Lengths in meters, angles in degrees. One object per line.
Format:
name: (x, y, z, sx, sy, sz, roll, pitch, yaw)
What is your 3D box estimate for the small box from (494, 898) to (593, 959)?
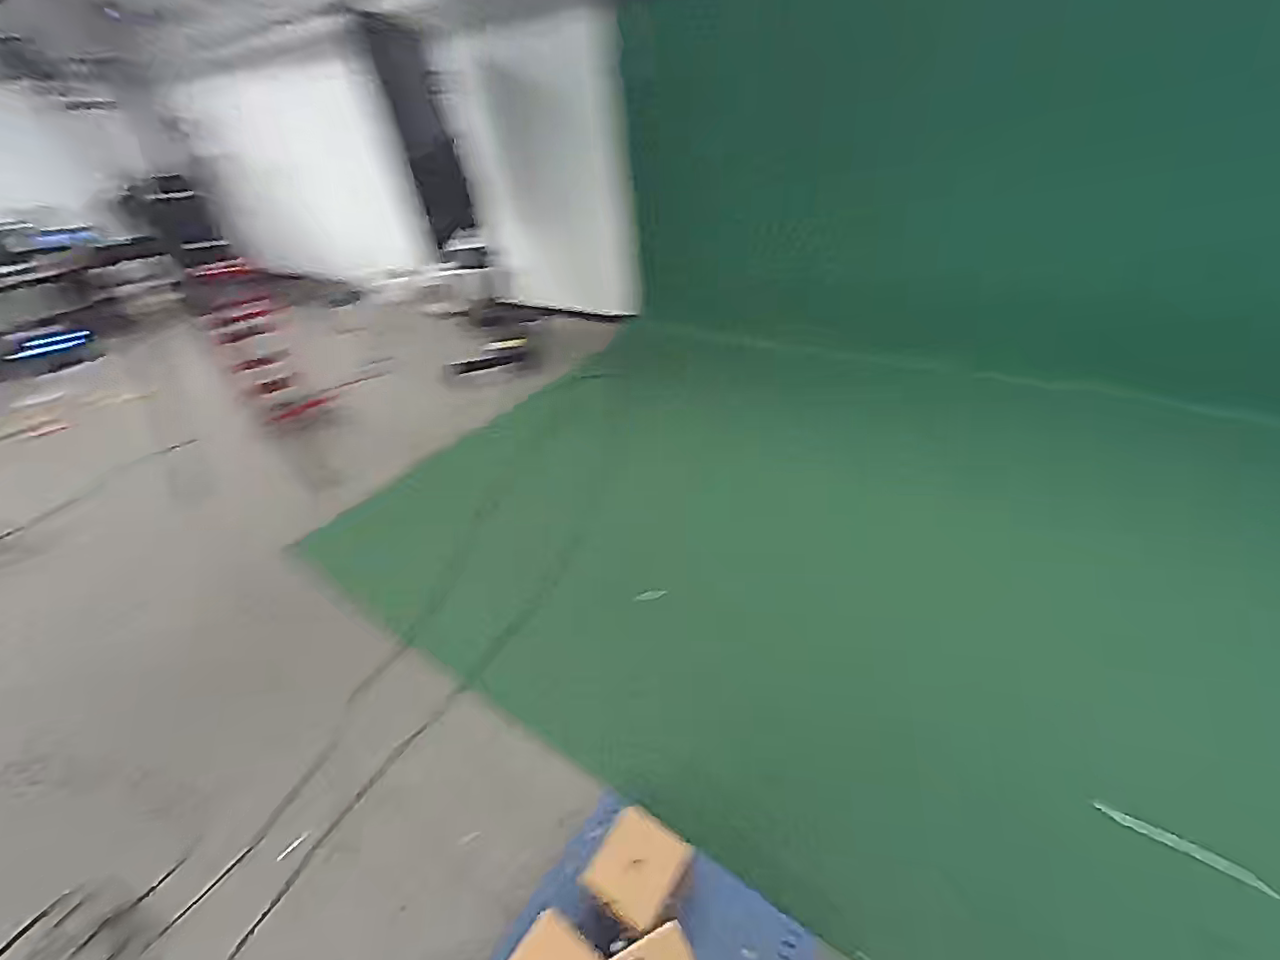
small box: (-0.179, 0.986, 1.061, 0.179, 0.176, 0.168, 21, 46, 32)

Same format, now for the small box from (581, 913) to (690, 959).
small box: (-0.003, 0.601, 0.555, 0.168, 0.176, 0.179, -17, 41, -17)

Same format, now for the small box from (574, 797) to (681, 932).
small box: (-0.019, 0.862, 1.199, 0.168, 0.176, 0.179, 20, 45, 30)
